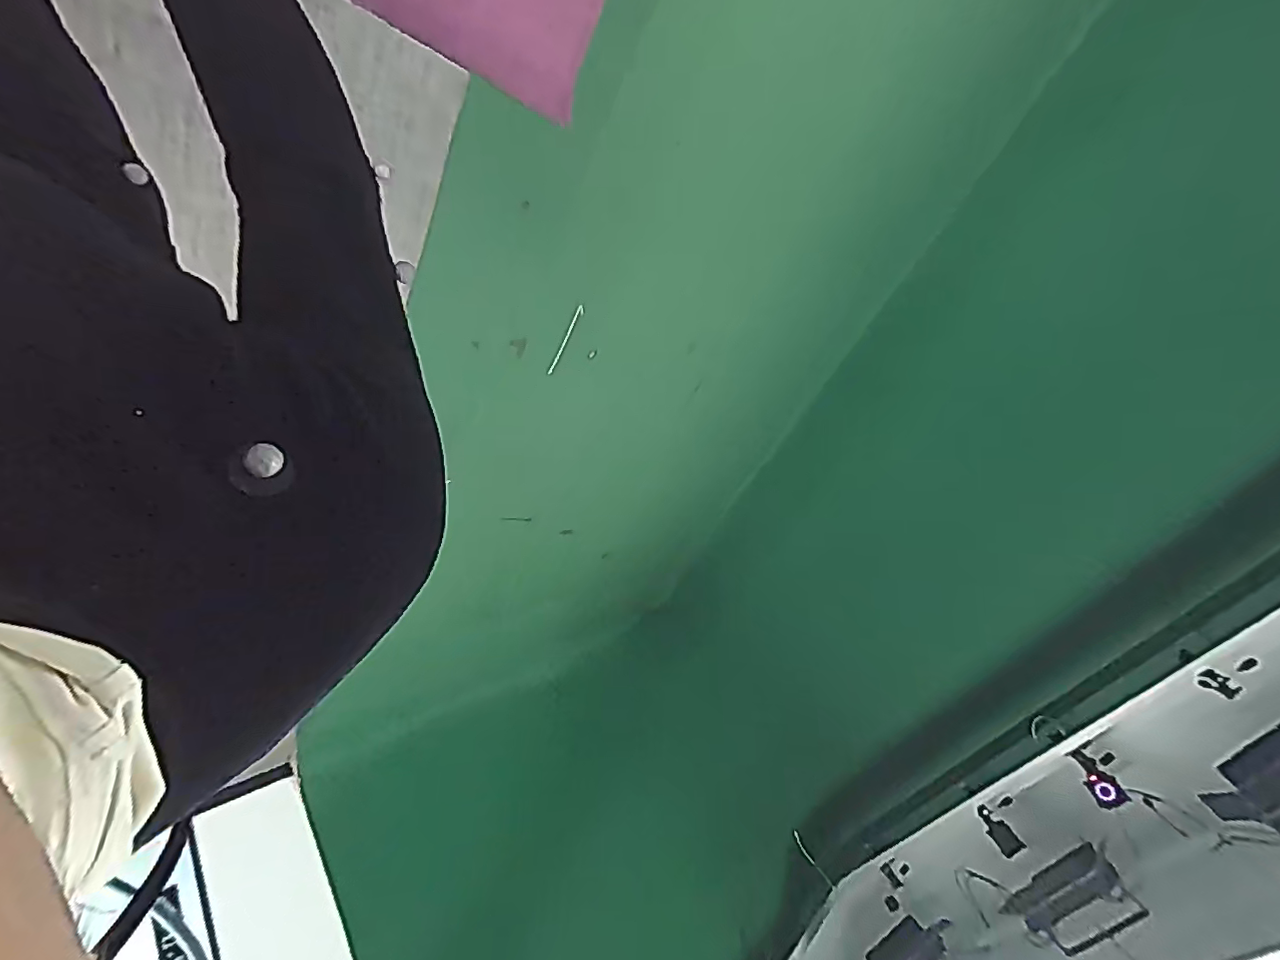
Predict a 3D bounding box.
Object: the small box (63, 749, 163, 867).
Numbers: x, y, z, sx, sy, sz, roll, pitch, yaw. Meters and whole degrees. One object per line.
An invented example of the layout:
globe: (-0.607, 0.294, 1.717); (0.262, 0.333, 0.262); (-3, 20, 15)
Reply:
small box: (-1.368, 0.843, 1.405); (0.179, 0.176, 0.168); (-7, 136, -46)

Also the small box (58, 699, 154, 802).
small box: (-1.465, 0.735, 1.484); (0.179, 0.176, 0.168); (-4, 134, -47)
